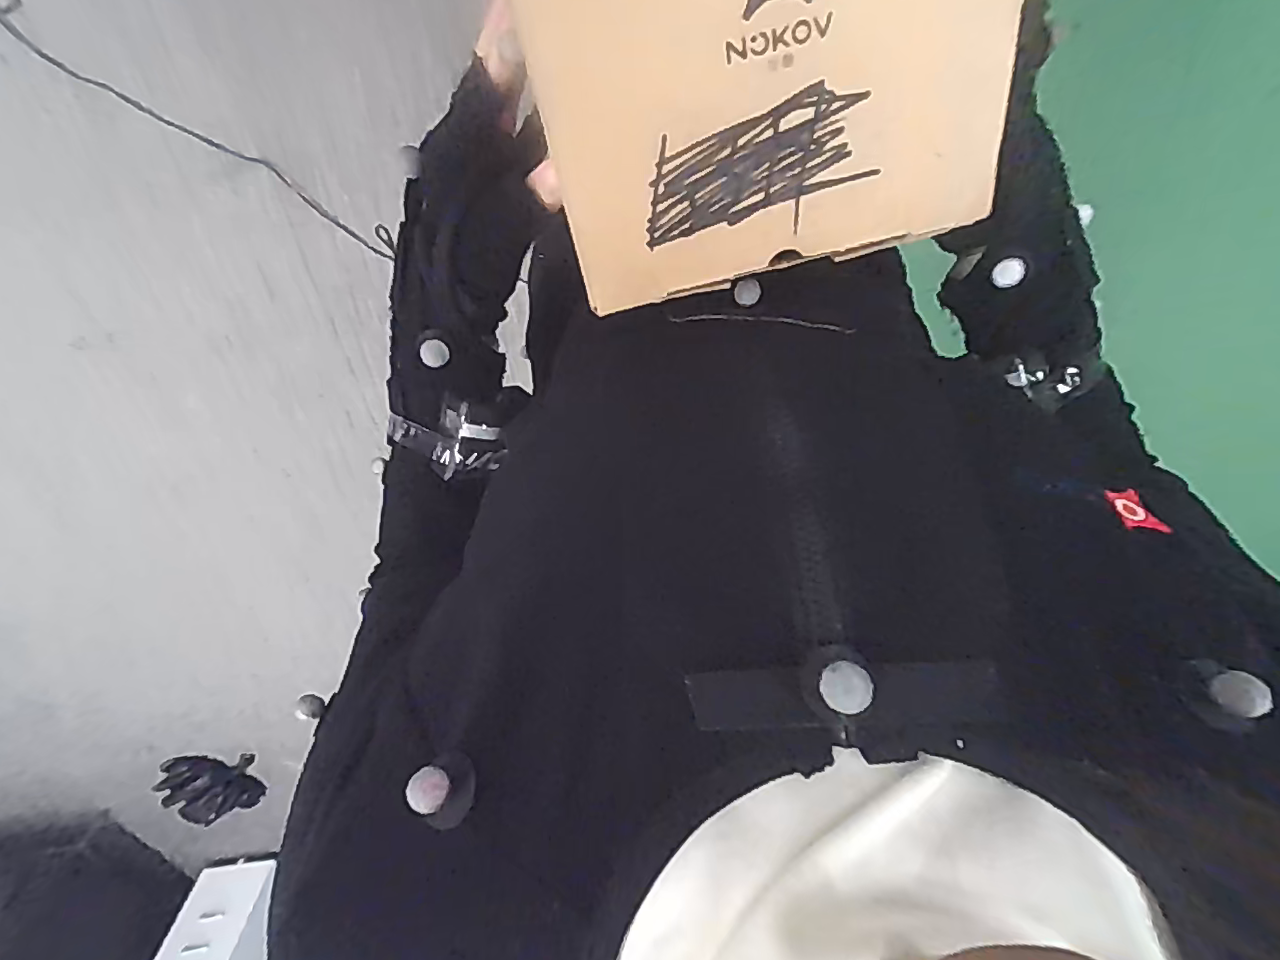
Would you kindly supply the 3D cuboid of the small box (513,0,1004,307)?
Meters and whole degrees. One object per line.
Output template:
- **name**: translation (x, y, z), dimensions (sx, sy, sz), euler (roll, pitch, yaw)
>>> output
- **small box**: translation (0.036, -0.206, 0.245), dimensions (0.168, 0.176, 0.179), euler (-12, 128, 3)
